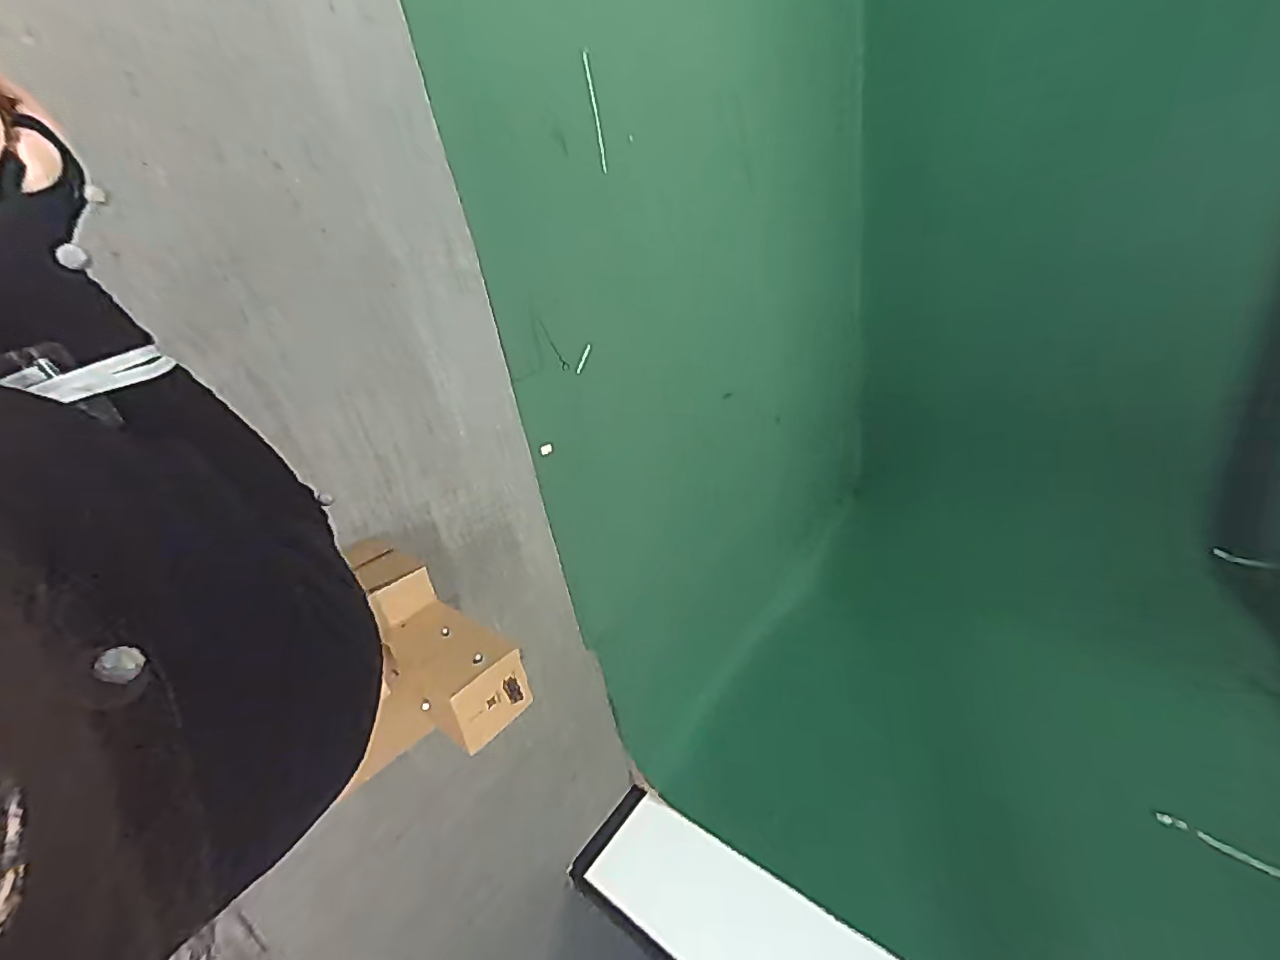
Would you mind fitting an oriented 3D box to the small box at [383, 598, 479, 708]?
[{"bbox_3d":[-0.491,0.418,1.318,0.168,0.176,0.179,-32,124,-42],"label":"small box"}]

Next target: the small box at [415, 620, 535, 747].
[{"bbox_3d":[-0.367,0.444,1.211,0.179,0.176,0.168,-32,123,-42],"label":"small box"}]
